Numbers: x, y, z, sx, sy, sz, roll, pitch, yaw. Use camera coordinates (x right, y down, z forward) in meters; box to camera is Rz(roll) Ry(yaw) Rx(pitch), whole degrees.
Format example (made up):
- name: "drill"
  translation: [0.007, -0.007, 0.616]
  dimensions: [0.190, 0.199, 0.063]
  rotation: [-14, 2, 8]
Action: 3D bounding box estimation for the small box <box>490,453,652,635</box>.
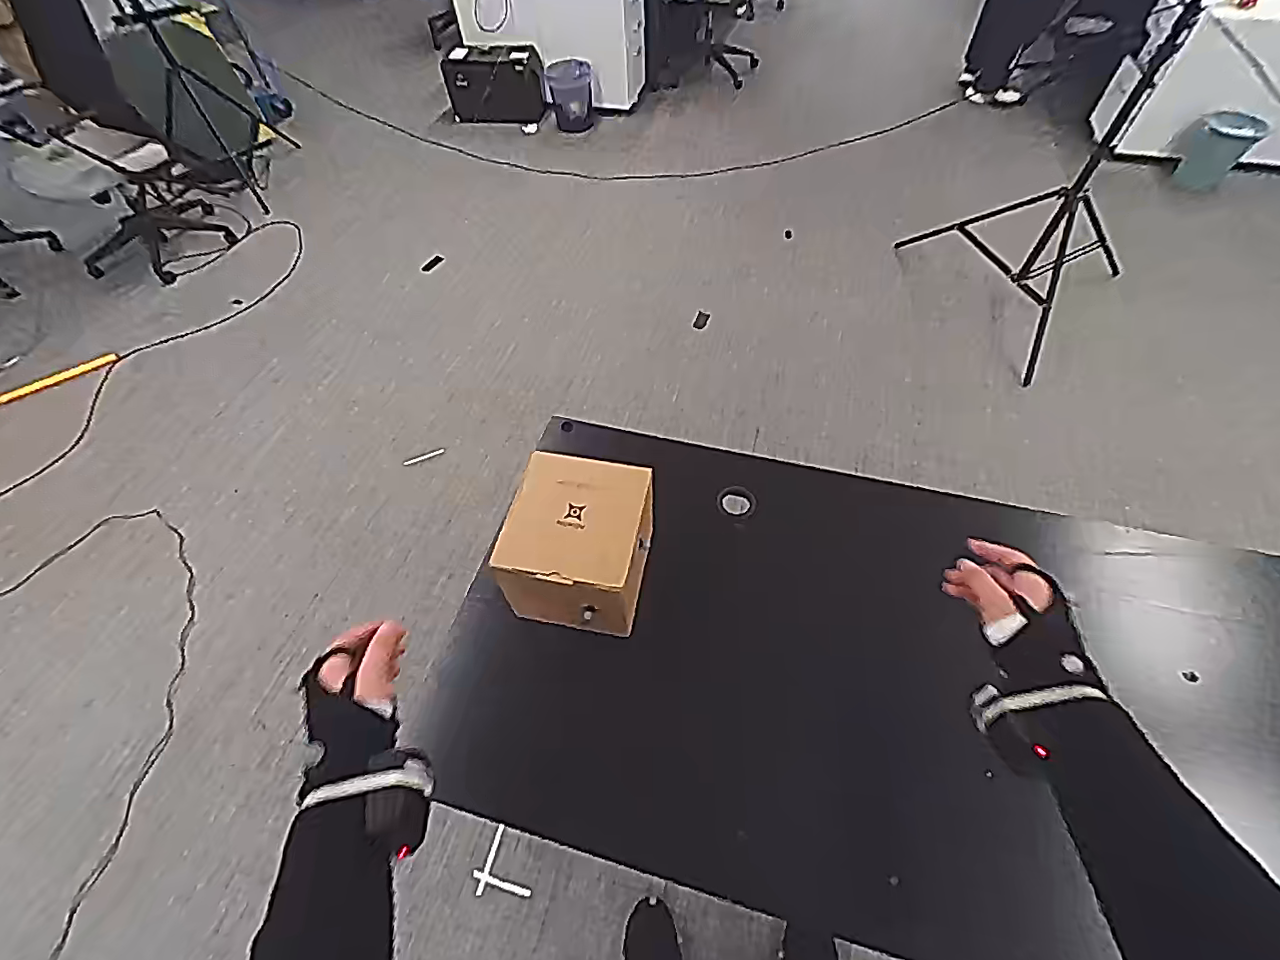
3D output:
- name: "small box"
  translation: [-0.078, 0.091, 0.729]
  dimensions: [0.168, 0.176, 0.179]
  rotation: [9, 55, 7]
